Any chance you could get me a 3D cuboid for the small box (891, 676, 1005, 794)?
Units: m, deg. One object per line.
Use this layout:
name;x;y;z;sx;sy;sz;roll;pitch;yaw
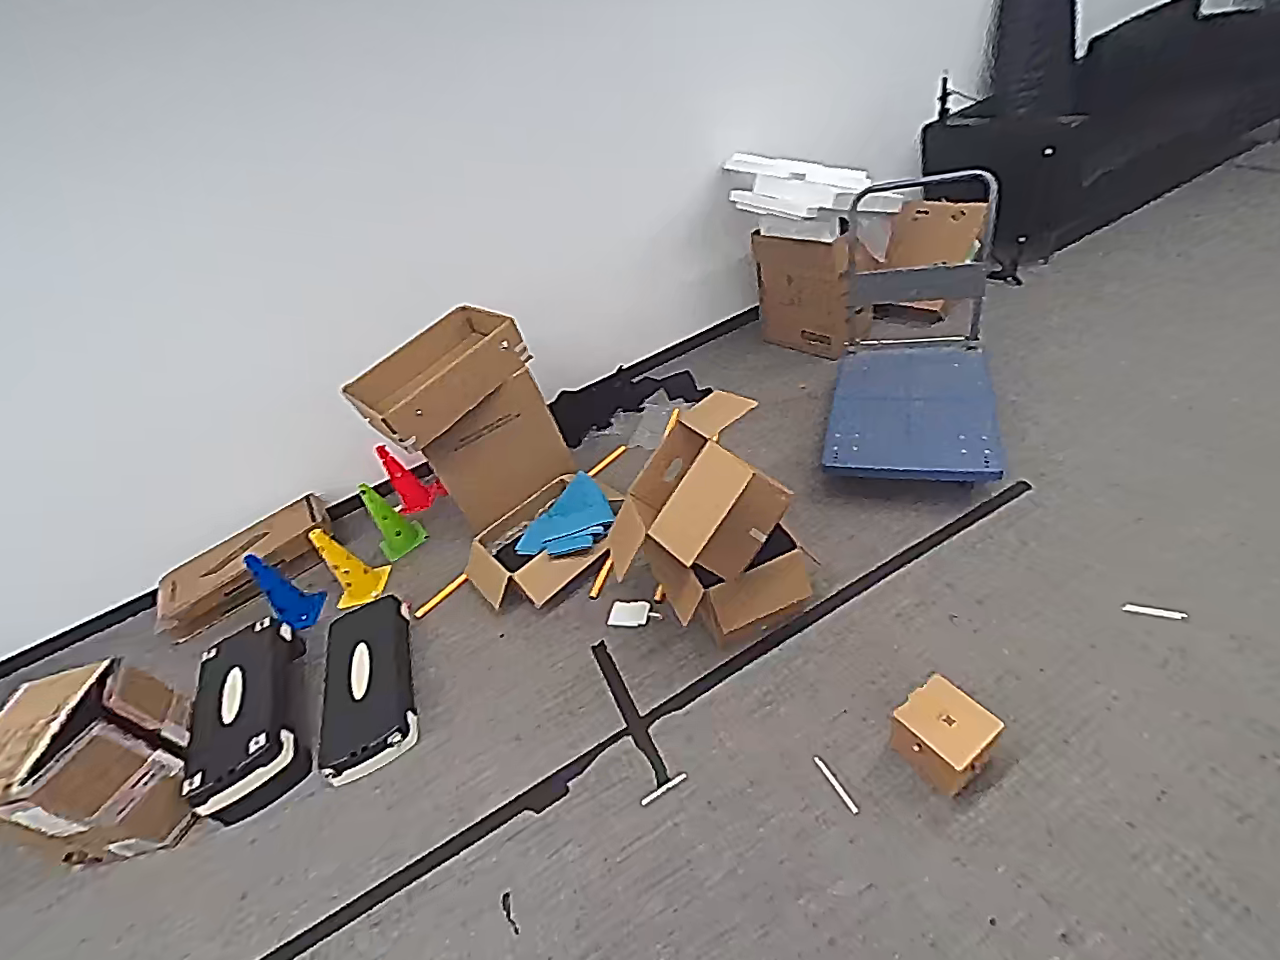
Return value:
small box;0.739;0.625;1.313;0.168;0.176;0.179;-32;40;-17
